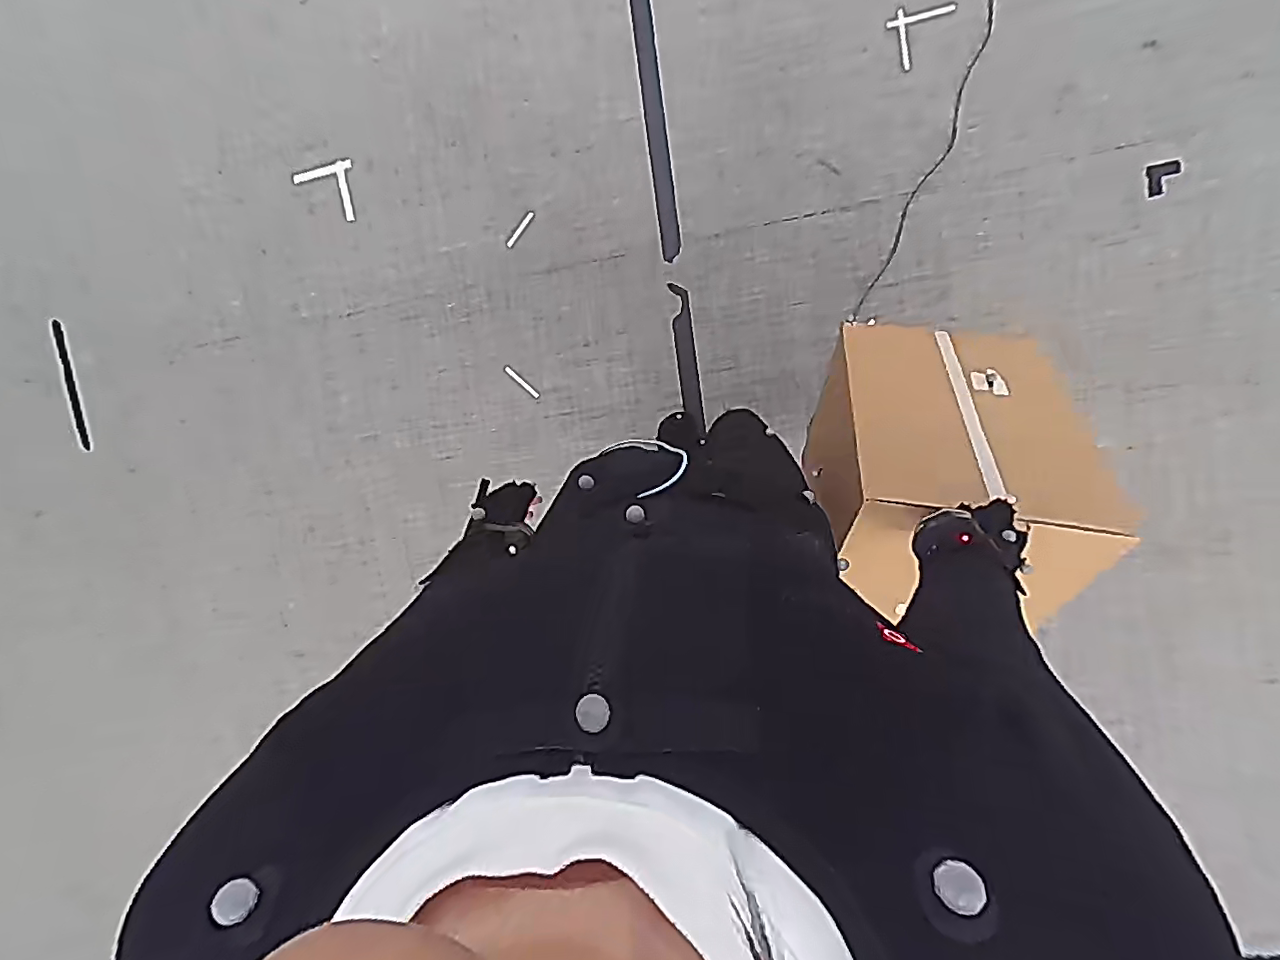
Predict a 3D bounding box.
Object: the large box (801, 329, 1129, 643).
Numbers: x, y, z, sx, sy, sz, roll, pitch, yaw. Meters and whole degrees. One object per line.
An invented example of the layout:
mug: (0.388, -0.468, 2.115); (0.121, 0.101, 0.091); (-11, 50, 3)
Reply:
large box: (0.460, 0.002, 0.894); (0.320, 0.408, 0.320); (9, 137, 5)
